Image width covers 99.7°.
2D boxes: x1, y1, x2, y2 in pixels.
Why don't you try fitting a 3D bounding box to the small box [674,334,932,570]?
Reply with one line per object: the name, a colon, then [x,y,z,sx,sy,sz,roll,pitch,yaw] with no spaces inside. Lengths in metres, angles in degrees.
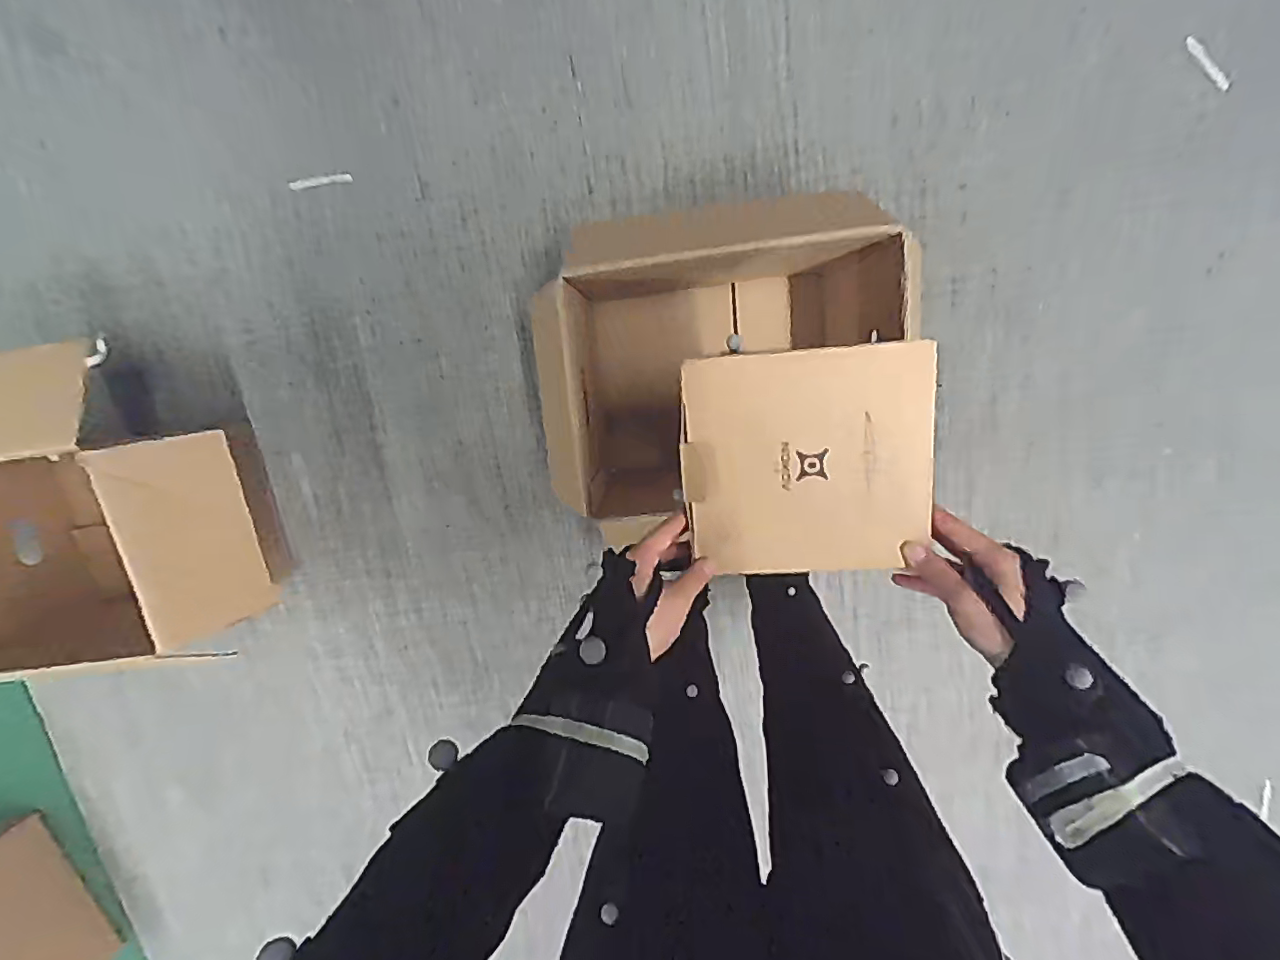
small box: [0.126,-0.032,0.468,0.179,0.176,0.168,-4,104,7]
